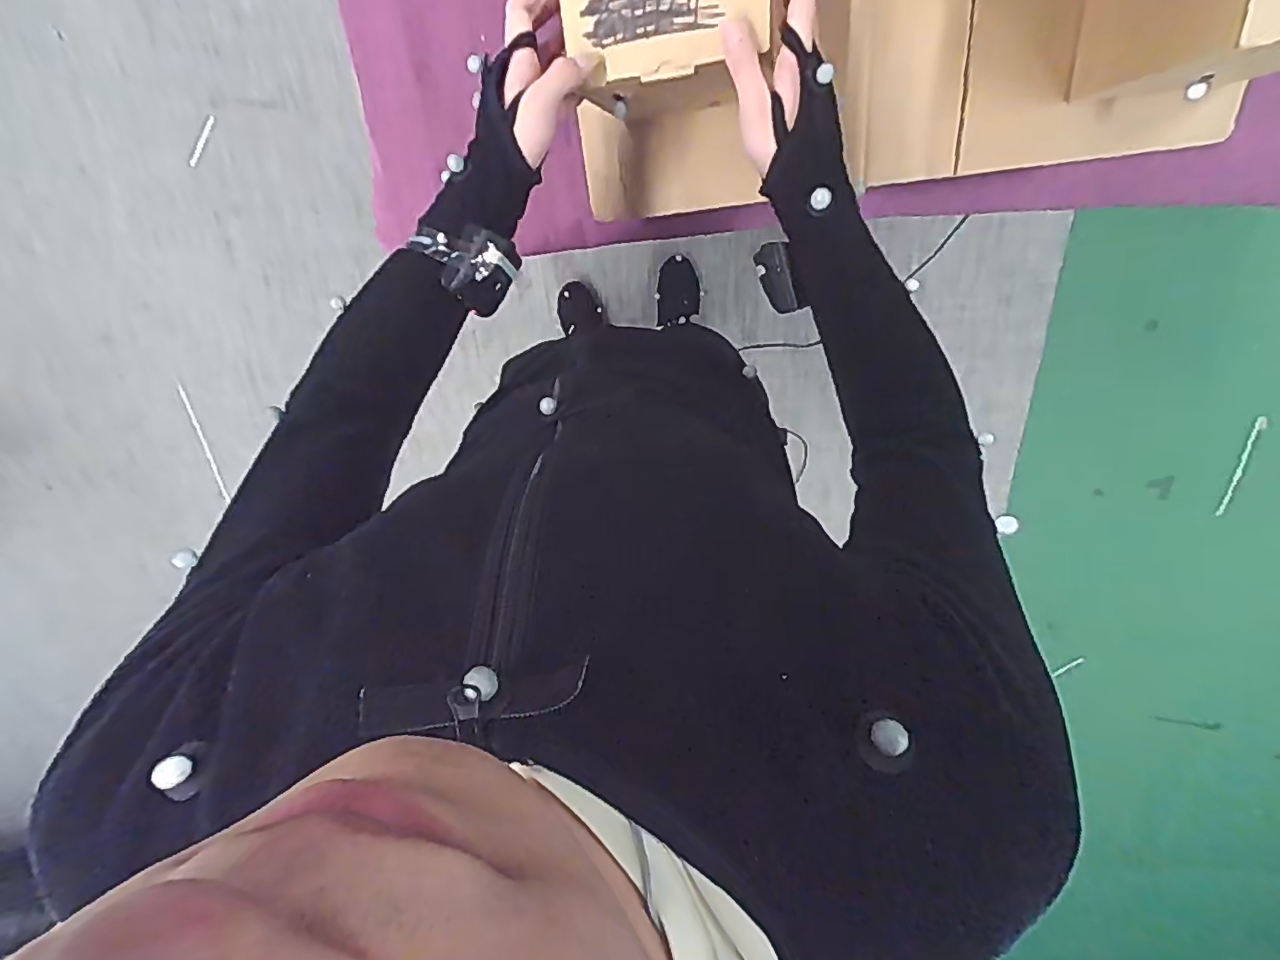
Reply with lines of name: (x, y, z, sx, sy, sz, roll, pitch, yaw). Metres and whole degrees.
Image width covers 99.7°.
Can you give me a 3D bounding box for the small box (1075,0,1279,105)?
small box: (0.504, -0.434, 0.437, 0.168, 0.176, 0.179, -6, 114, 1)
